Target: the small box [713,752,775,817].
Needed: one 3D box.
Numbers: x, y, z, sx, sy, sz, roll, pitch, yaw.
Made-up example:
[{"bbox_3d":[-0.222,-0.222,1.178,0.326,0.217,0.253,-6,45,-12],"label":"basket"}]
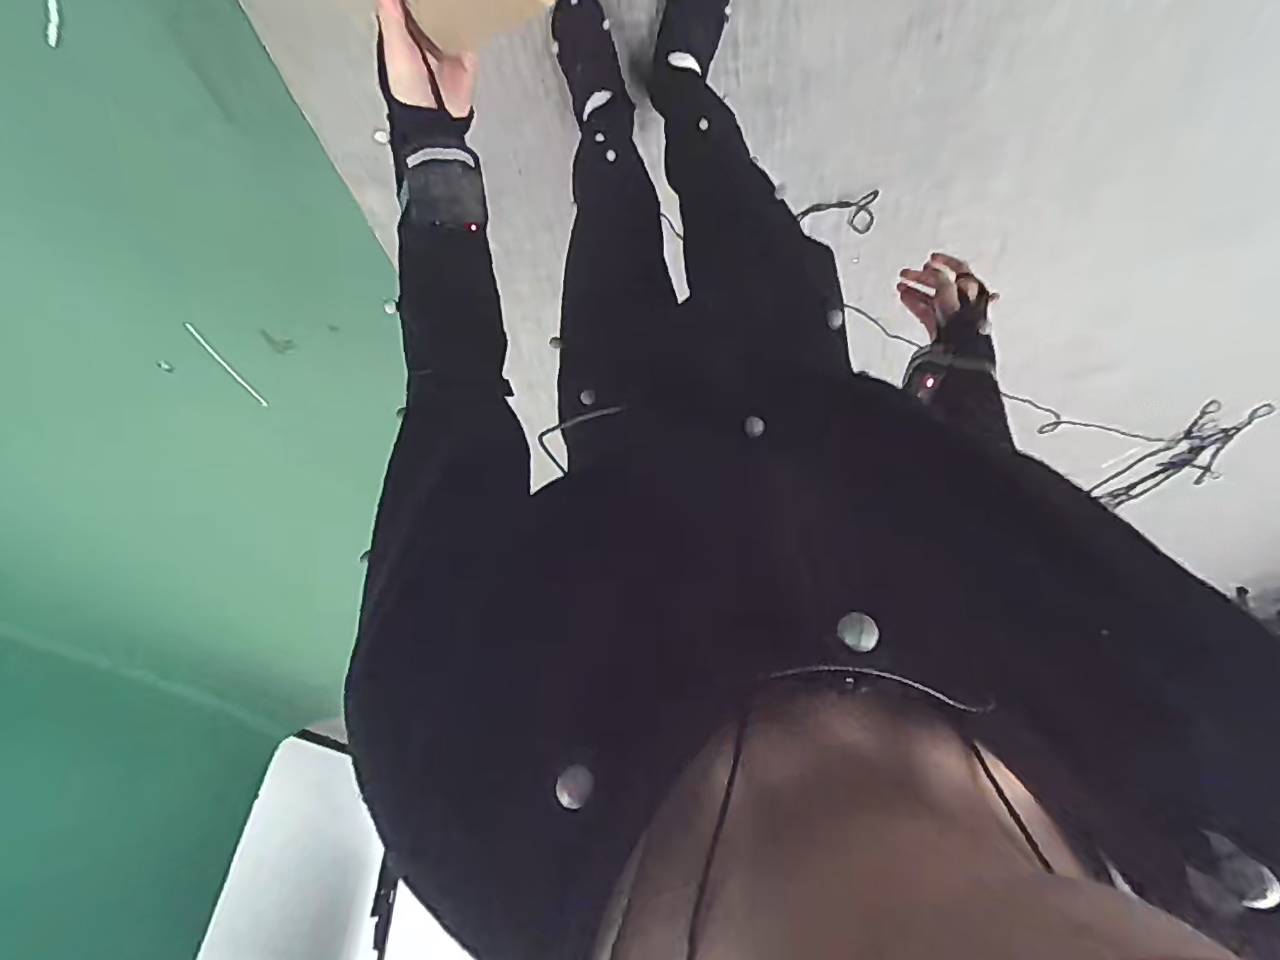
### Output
[{"bbox_3d":[0.336,0.999,1.773,0.179,0.176,0.168,-5,143,6],"label":"small box"}]
